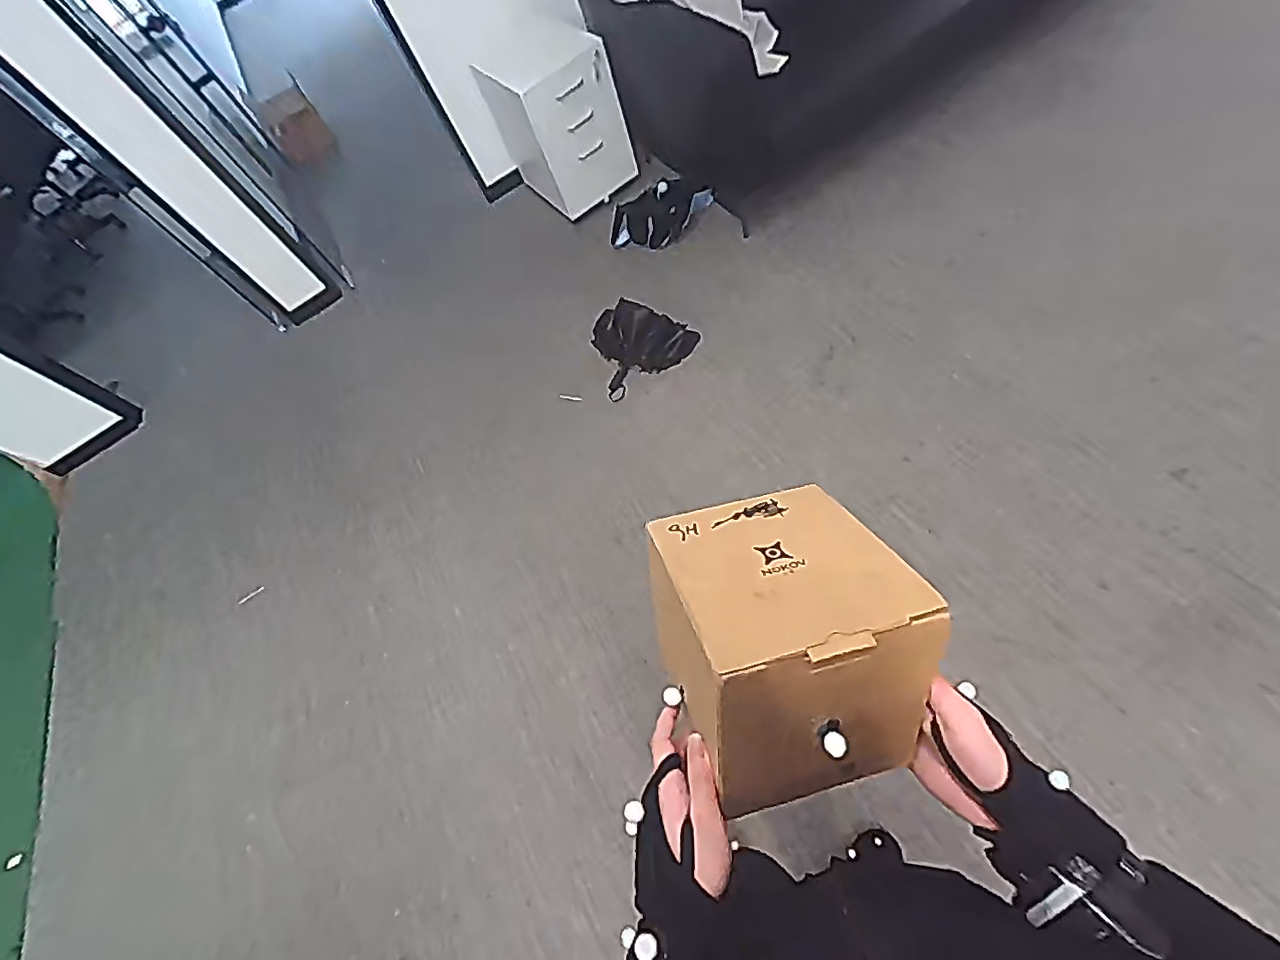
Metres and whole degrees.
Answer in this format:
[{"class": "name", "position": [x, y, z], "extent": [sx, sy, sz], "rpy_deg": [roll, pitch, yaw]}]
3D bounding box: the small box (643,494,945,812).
[{"class": "small box", "position": [0.106, 0.139, 0.445], "extent": [0.168, 0.176, 0.179], "rpy_deg": [-10, 31, -9]}]
